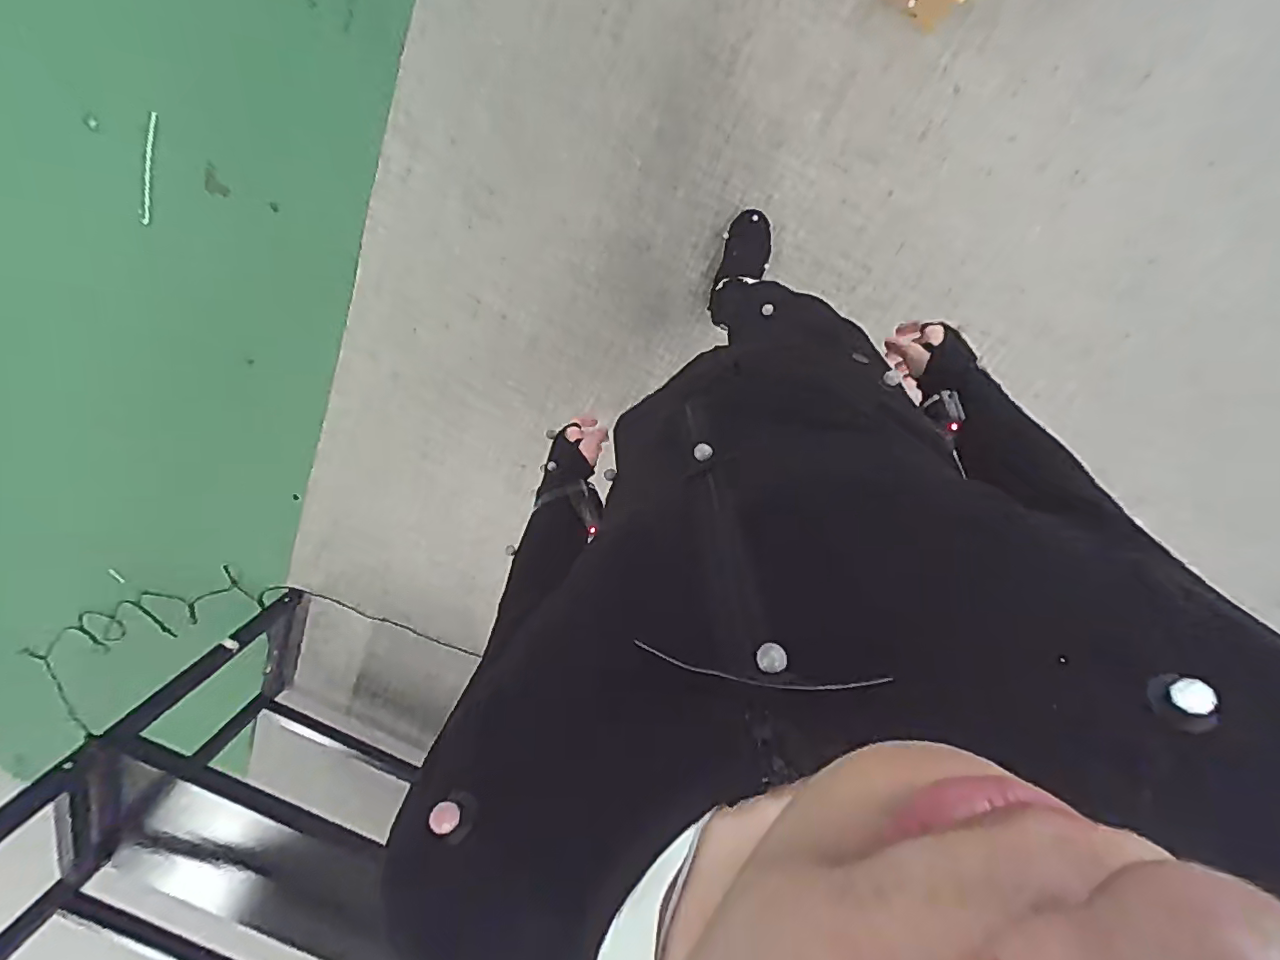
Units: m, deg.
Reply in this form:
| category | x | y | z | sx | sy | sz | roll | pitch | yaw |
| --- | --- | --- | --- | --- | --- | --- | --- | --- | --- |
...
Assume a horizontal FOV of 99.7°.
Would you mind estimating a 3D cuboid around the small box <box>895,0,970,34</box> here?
| category | x | y | z | sx | sy | sz | roll | pitch | yaw |
| --- | --- | --- | --- | --- | --- | --- | --- | --- | --- |
| small box | 0.622 | -1.052 | 1.080 | 0.168 | 0.176 | 0.179 | 34 | 114 | -5 |
